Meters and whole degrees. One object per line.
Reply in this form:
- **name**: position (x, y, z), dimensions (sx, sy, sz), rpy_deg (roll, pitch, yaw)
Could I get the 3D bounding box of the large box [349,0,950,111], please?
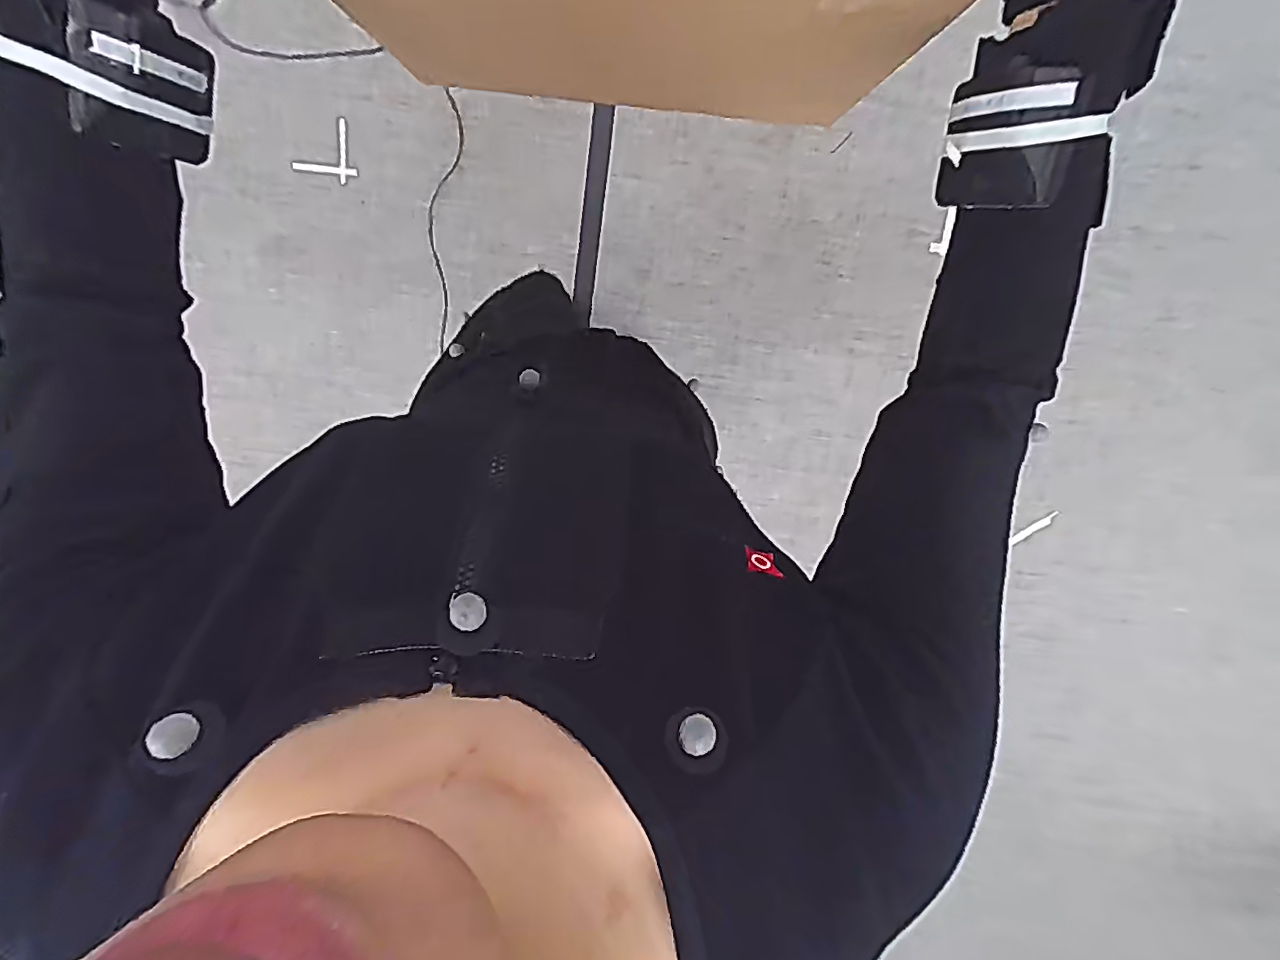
- **large box**: position (0.002, -0.462, 0.332), dimensions (0.408, 0.320, 0.320), rpy_deg (4, 110, -2)
